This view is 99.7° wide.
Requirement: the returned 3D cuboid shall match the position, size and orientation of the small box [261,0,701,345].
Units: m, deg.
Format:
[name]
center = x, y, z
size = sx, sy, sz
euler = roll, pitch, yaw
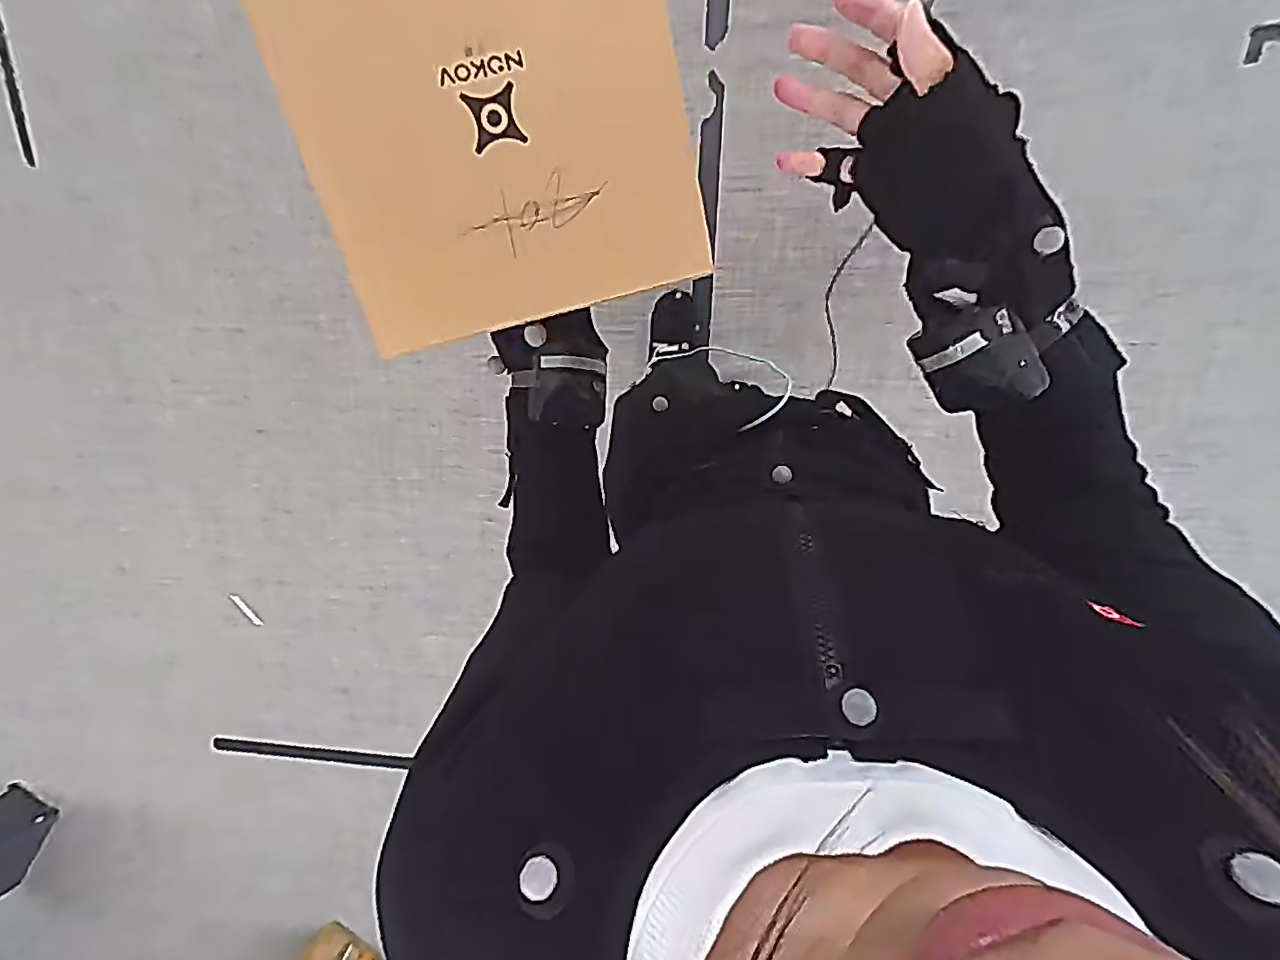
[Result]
[small box]
center = -0.076, -0.187, 0.321
size = 0.168, 0.176, 0.179
euler = -15, 108, -2
